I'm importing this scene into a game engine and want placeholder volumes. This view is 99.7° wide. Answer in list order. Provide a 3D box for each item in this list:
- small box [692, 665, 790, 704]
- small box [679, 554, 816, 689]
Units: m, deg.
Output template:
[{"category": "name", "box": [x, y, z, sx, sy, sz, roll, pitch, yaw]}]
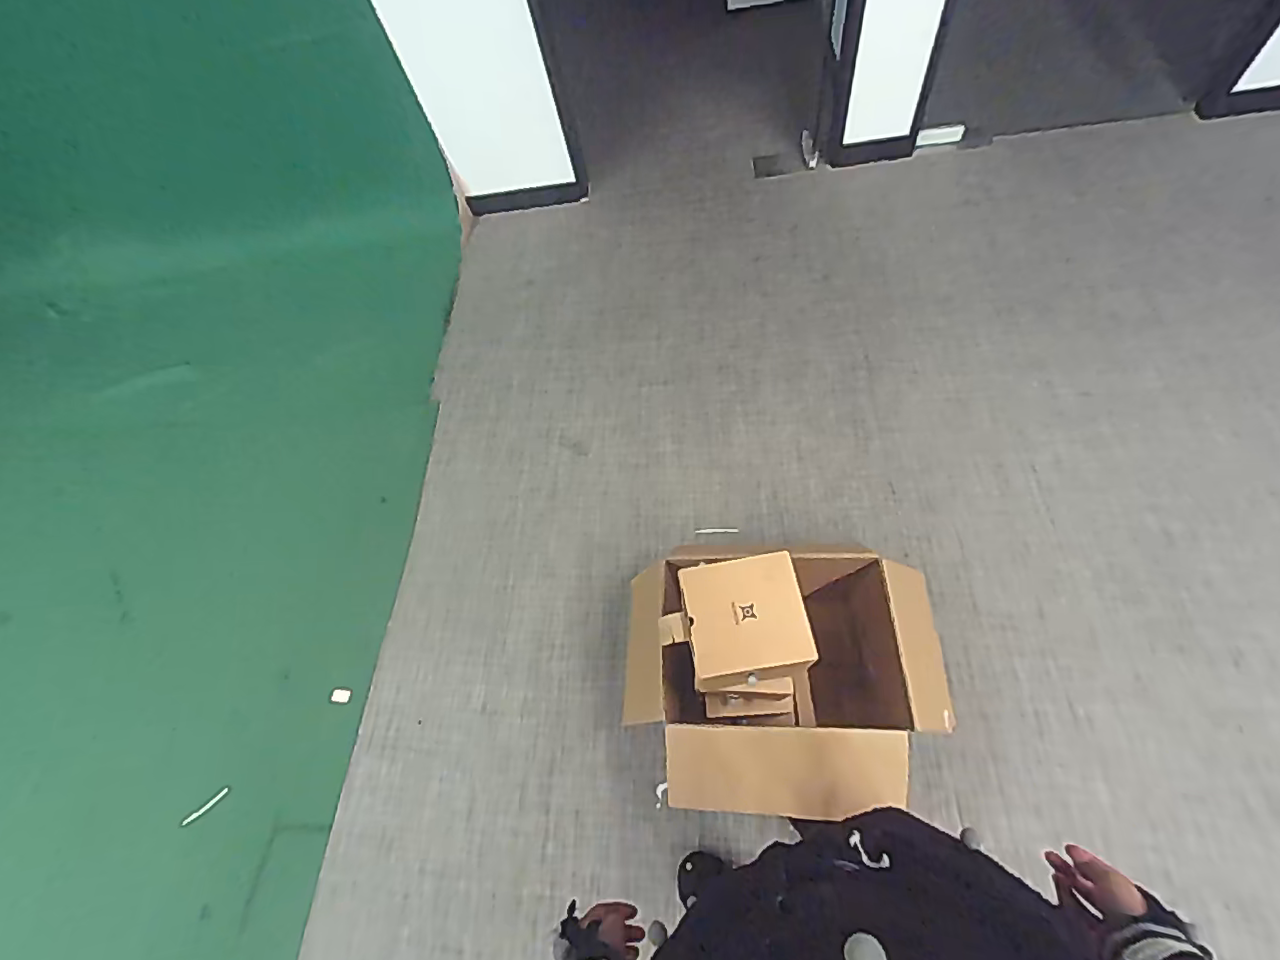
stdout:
[{"category": "small box", "box": [0.183, 0.313, 1.010, 0.168, 0.176, 0.179, 1, 65, 8]}, {"category": "small box", "box": [0.163, 0.233, 0.870, 0.179, 0.176, 0.168, -10, 63, 3]}]
